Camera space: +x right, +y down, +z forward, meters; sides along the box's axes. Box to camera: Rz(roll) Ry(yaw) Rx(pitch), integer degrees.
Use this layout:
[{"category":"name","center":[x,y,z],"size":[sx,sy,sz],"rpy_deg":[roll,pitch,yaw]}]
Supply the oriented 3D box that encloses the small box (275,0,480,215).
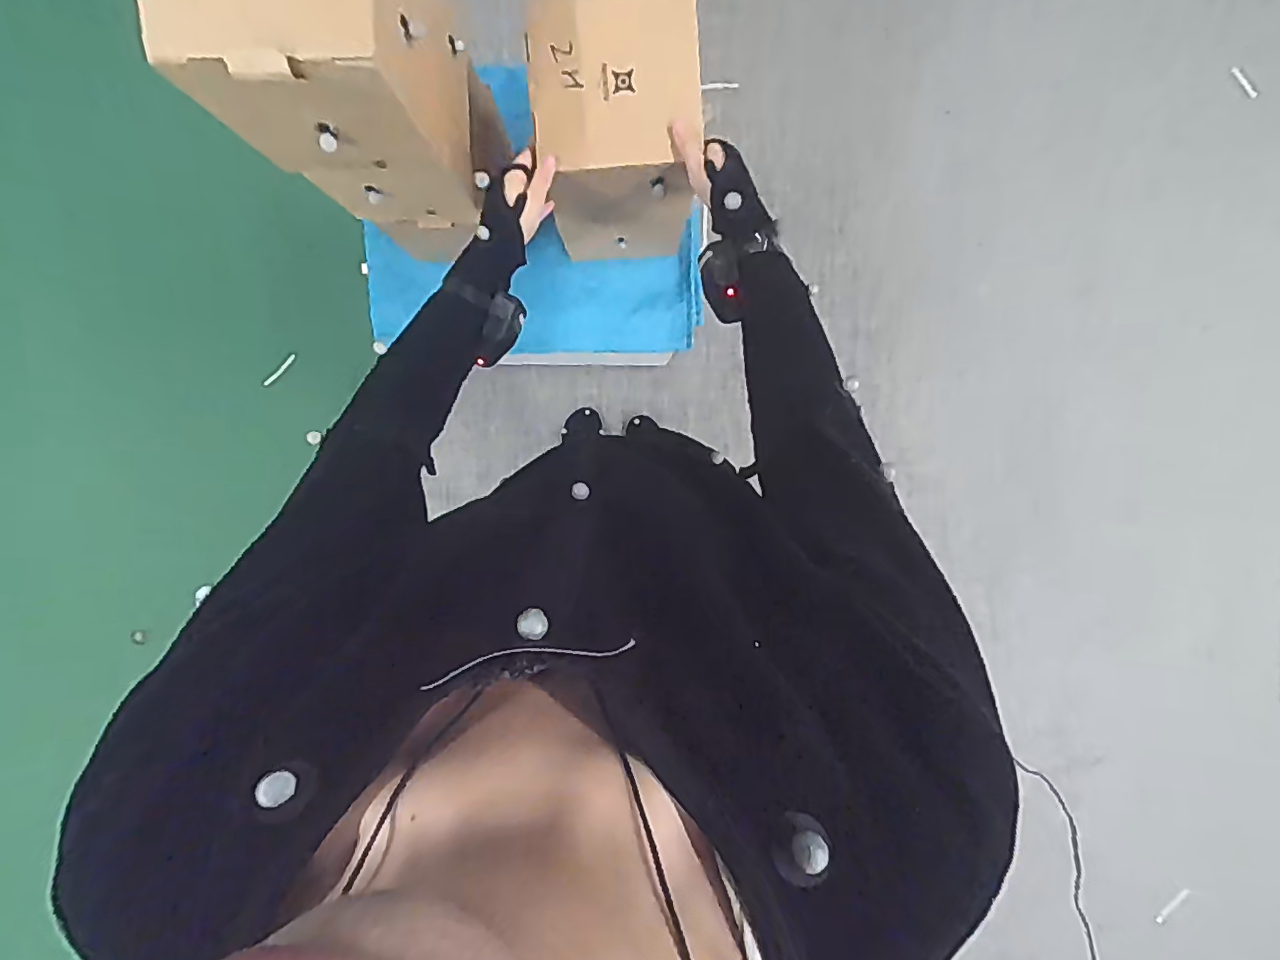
[{"category":"small box","center":[-0.284,-0.421,0.614],"size":[0.168,0.176,0.179],"rpy_deg":[1,94,-2]}]

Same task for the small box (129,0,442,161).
[{"category":"small box","center":[-0.274,-0.395,0.452],"size":[0.168,0.176,0.179],"rpy_deg":[0,95,-3]}]

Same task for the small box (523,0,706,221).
[{"category":"small box","center":[-0.026,-0.412,0.616],"size":[0.179,0.176,0.168],"rpy_deg":[-4,96,0]}]

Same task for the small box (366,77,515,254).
[{"category":"small box","center":[-0.277,-0.436,0.775],"size":[0.168,0.176,0.179],"rpy_deg":[0,95,-2]}]
